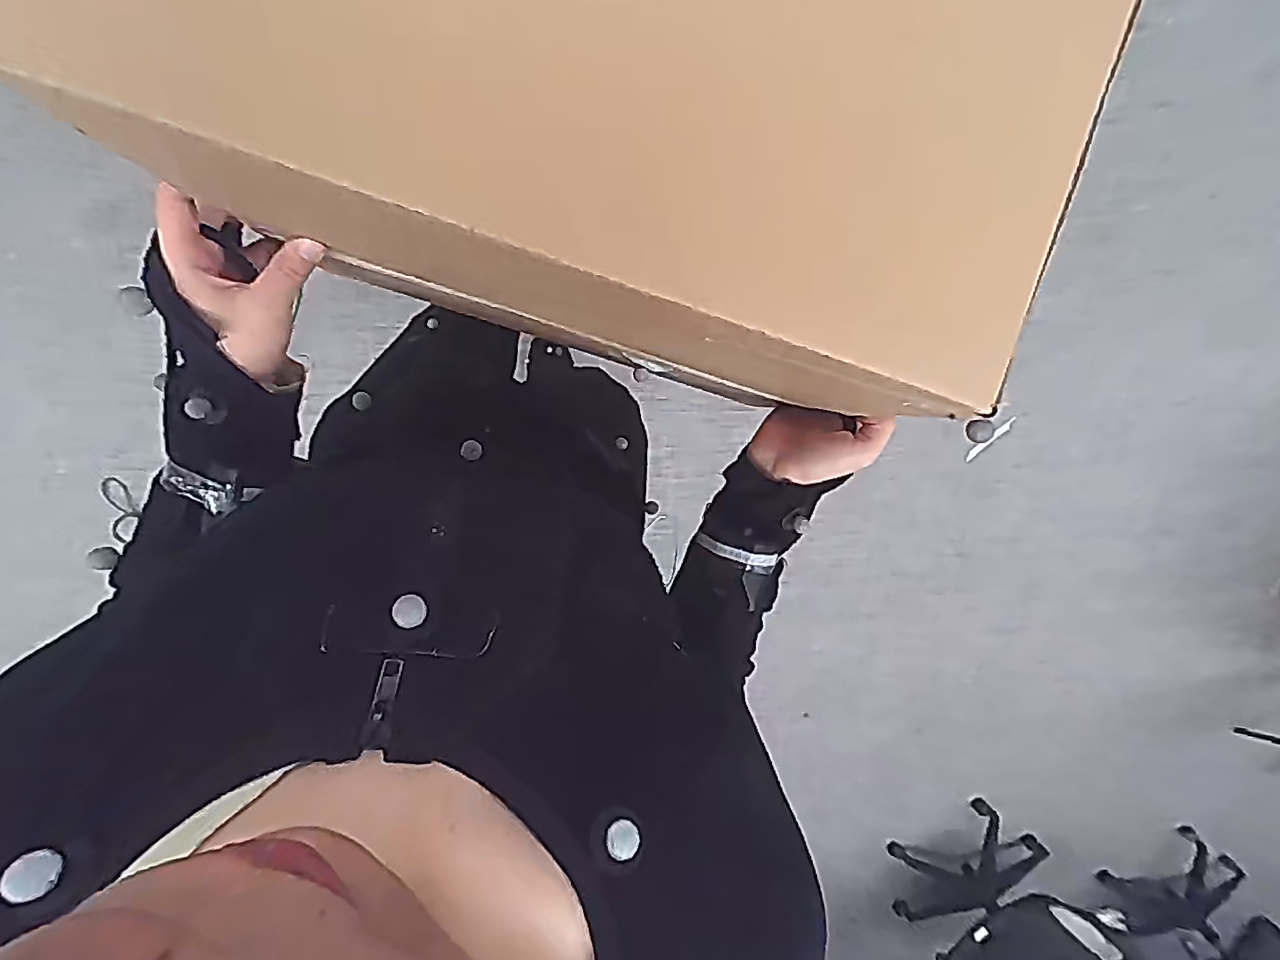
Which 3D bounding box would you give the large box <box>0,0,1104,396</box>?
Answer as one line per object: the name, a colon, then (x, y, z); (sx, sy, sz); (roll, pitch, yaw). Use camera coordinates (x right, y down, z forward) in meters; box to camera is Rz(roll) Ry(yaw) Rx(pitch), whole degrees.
large box: (-0.017, -0.258, 0.339); (0.408, 0.320, 0.320); (13, 98, -12)
